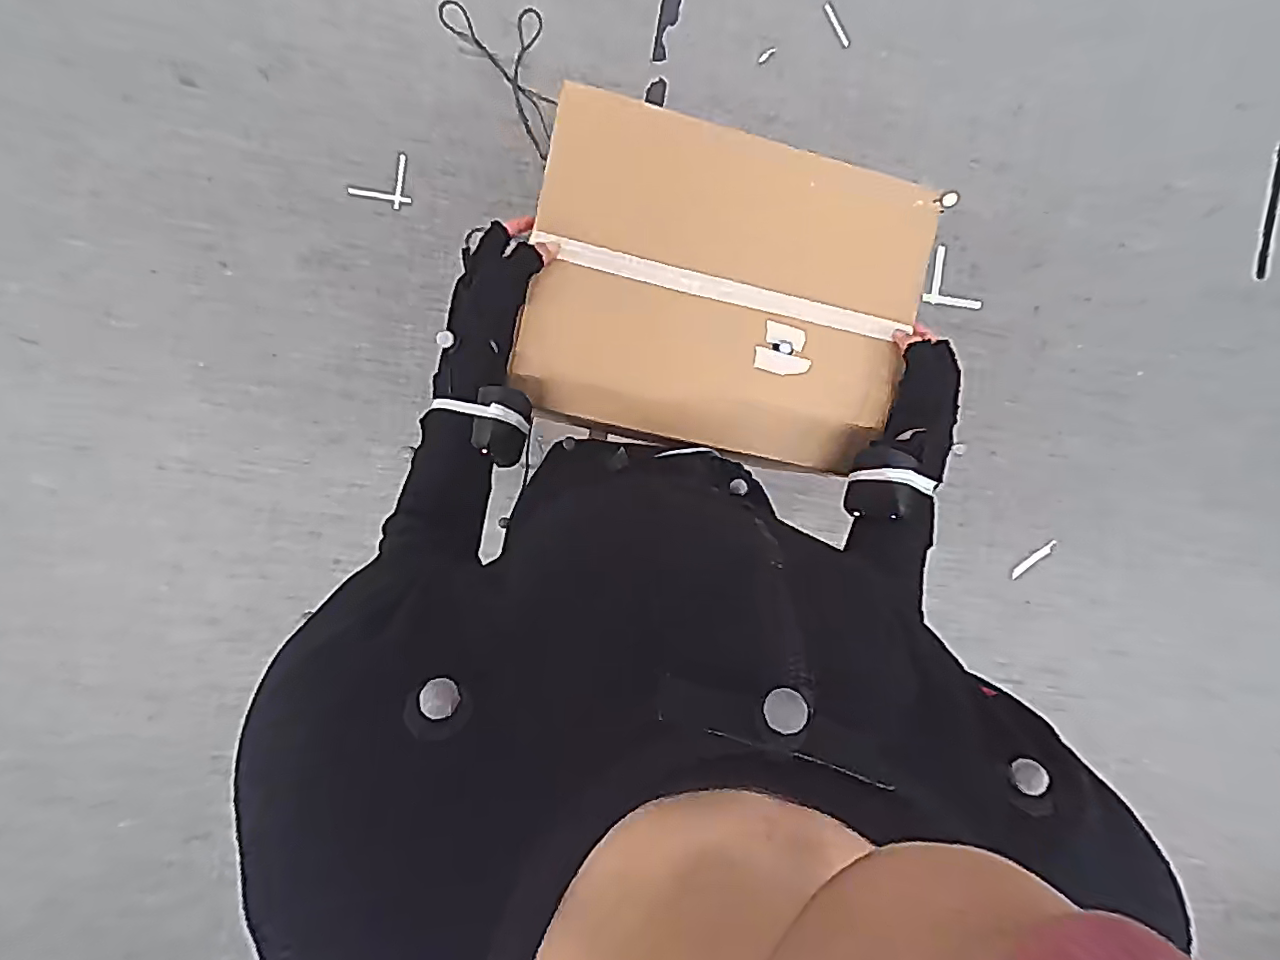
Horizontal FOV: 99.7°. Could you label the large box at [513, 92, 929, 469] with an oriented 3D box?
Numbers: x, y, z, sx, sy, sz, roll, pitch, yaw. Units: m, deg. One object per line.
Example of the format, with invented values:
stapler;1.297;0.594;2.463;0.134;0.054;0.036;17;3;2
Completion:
large box;0.072;-0.209;0.712;0.408;0.320;0.320;12;94;-8
